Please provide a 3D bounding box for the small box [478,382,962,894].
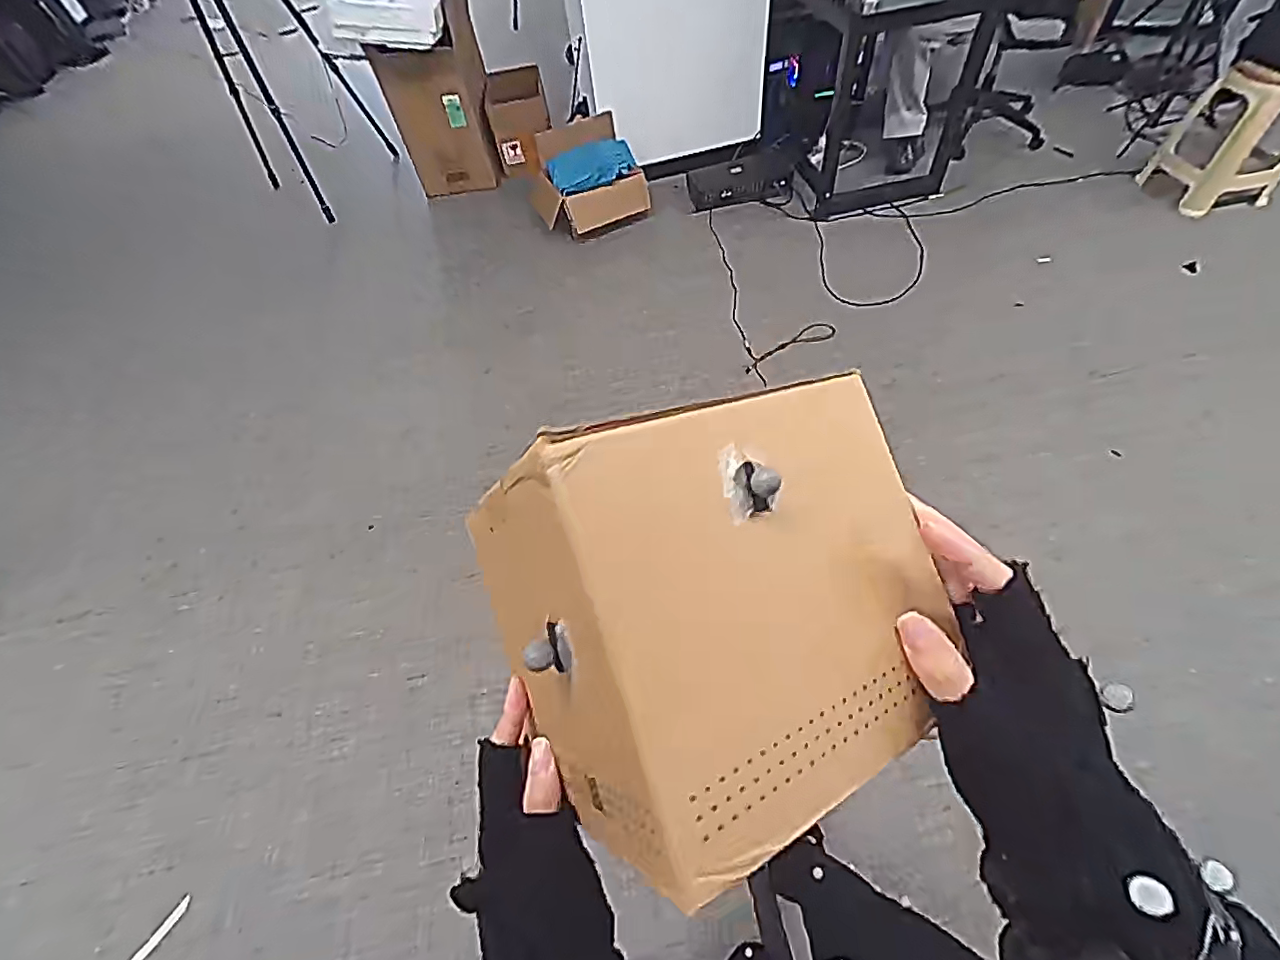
[{"bbox_3d":[0.031,0.069,0.293,0.179,0.168,0.176,-15,83,-27],"label":"small box"}]
